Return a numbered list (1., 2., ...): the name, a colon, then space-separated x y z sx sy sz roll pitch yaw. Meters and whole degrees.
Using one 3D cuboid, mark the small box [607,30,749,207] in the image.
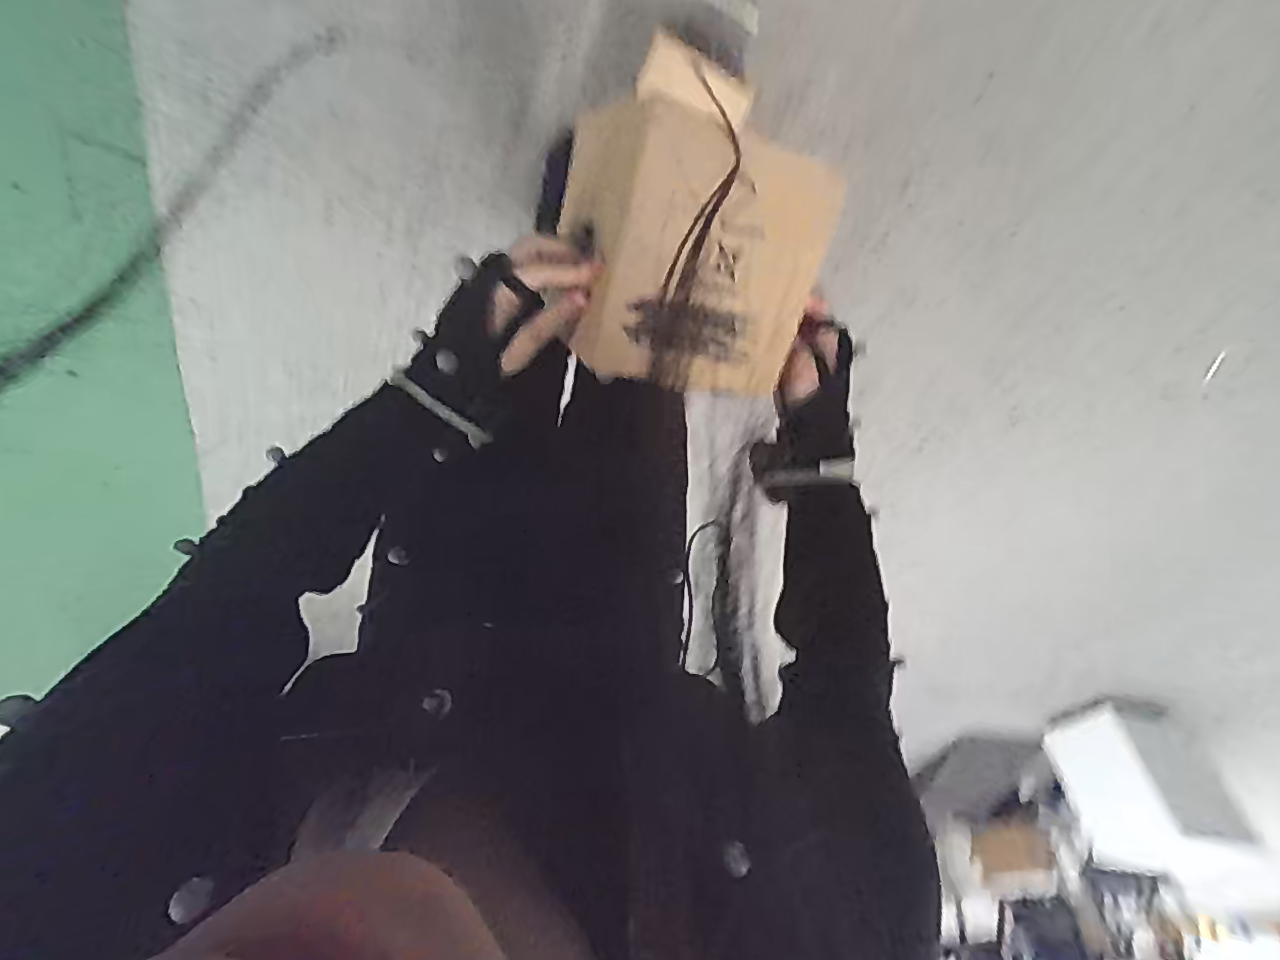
1. small box: 0.057 -0.607 0.907 0.168 0.176 0.179 22 133 -18
